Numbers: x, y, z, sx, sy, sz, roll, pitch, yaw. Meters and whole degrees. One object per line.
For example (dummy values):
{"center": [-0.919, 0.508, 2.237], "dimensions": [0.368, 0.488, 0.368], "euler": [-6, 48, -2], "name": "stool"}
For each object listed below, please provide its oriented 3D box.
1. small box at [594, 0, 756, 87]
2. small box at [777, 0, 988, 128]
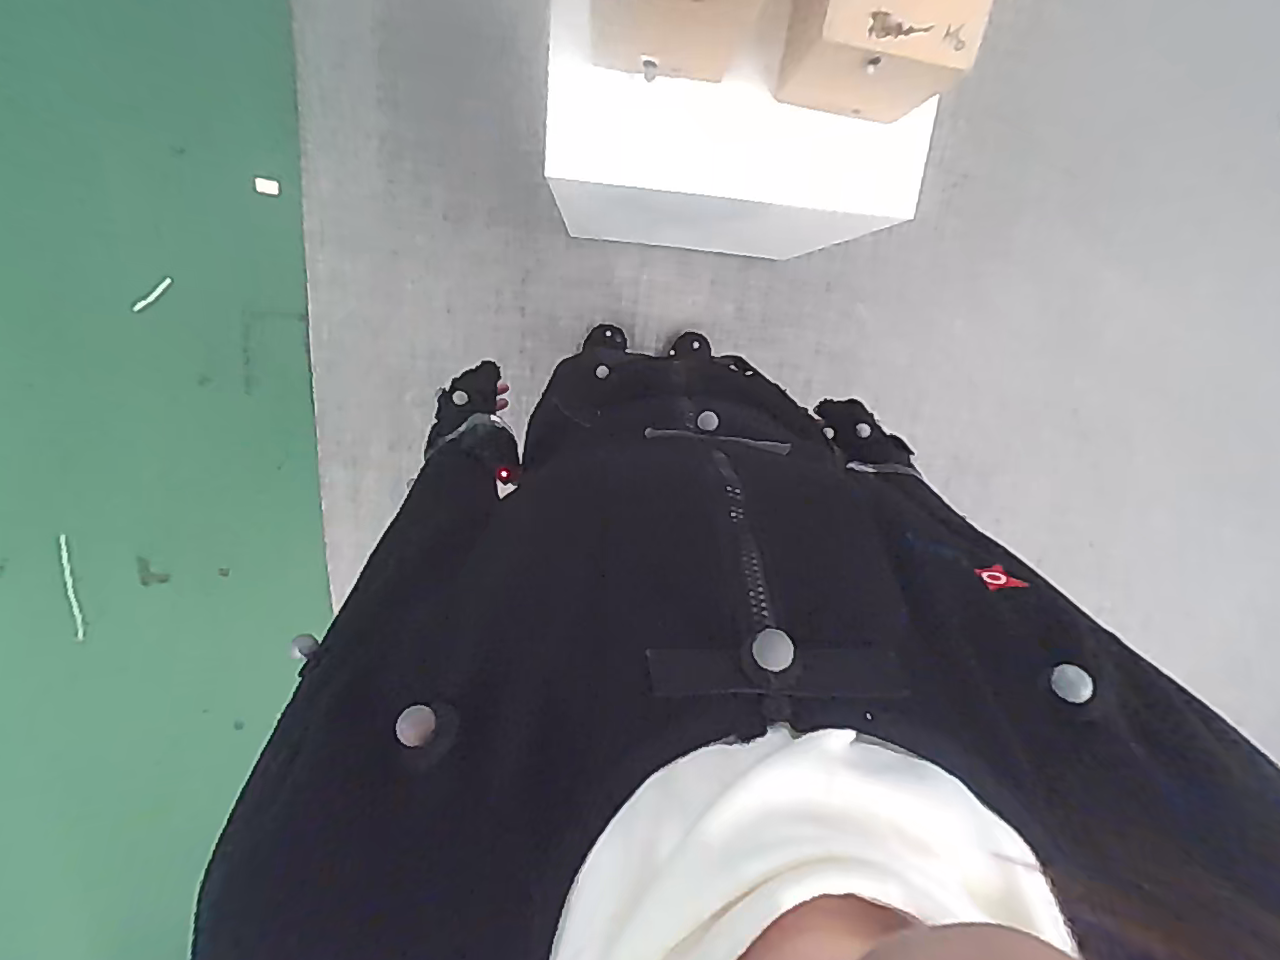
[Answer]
{"center": [0.036, -0.569, 0.588], "dimensions": [0.168, 0.176, 0.179], "euler": [3, 108, -3], "name": "small box"}
{"center": [0.269, -0.537, 0.609], "dimensions": [0.168, 0.176, 0.179], "euler": [8, 105, -6], "name": "small box"}
